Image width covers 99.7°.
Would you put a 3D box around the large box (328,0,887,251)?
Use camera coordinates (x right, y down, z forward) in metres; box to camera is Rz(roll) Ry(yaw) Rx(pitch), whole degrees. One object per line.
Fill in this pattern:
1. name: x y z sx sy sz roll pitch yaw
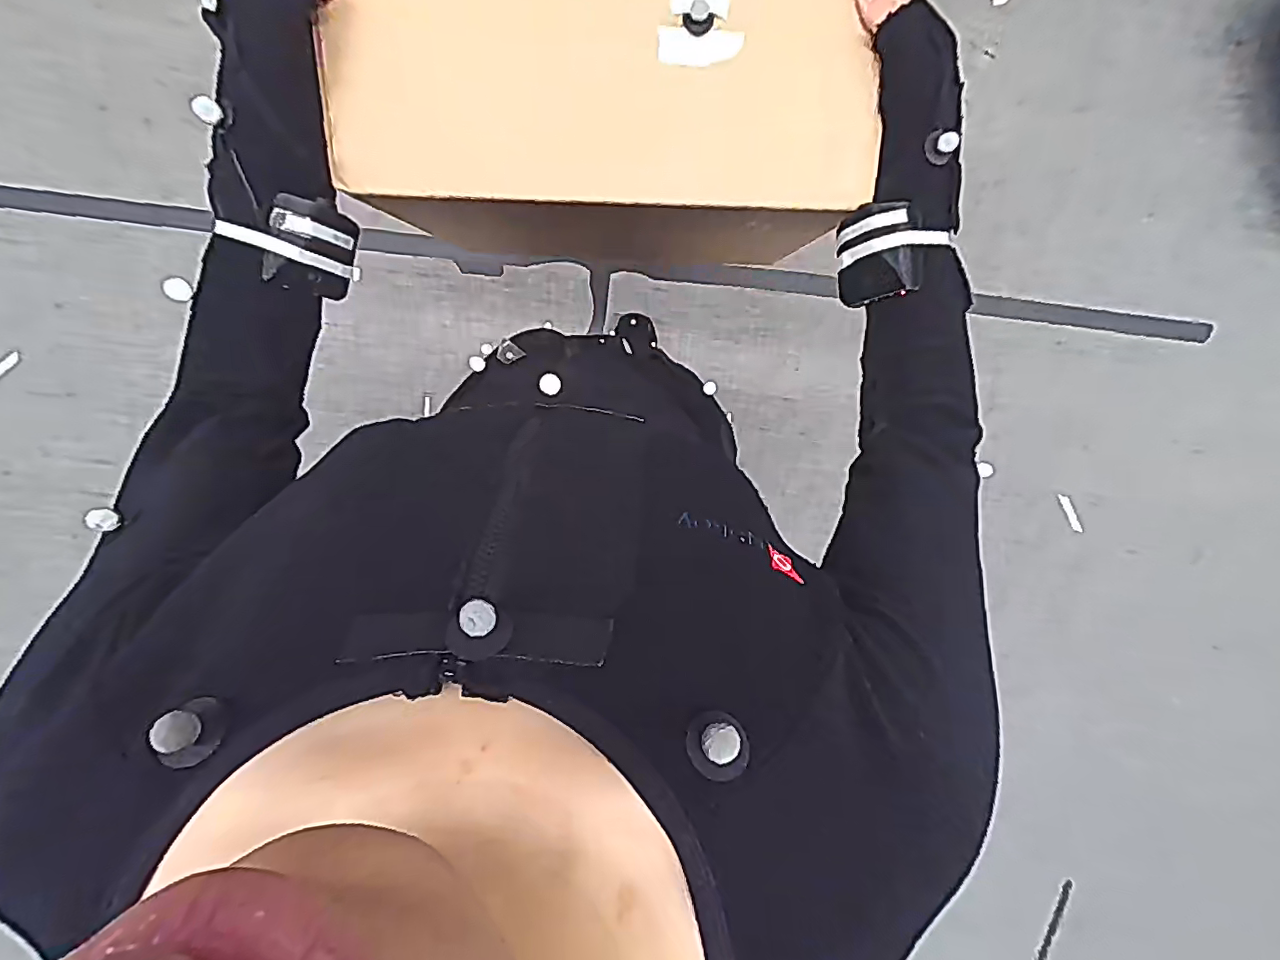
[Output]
1. large box: -0.023 -0.410 0.518 0.408 0.320 0.320 2 105 0
